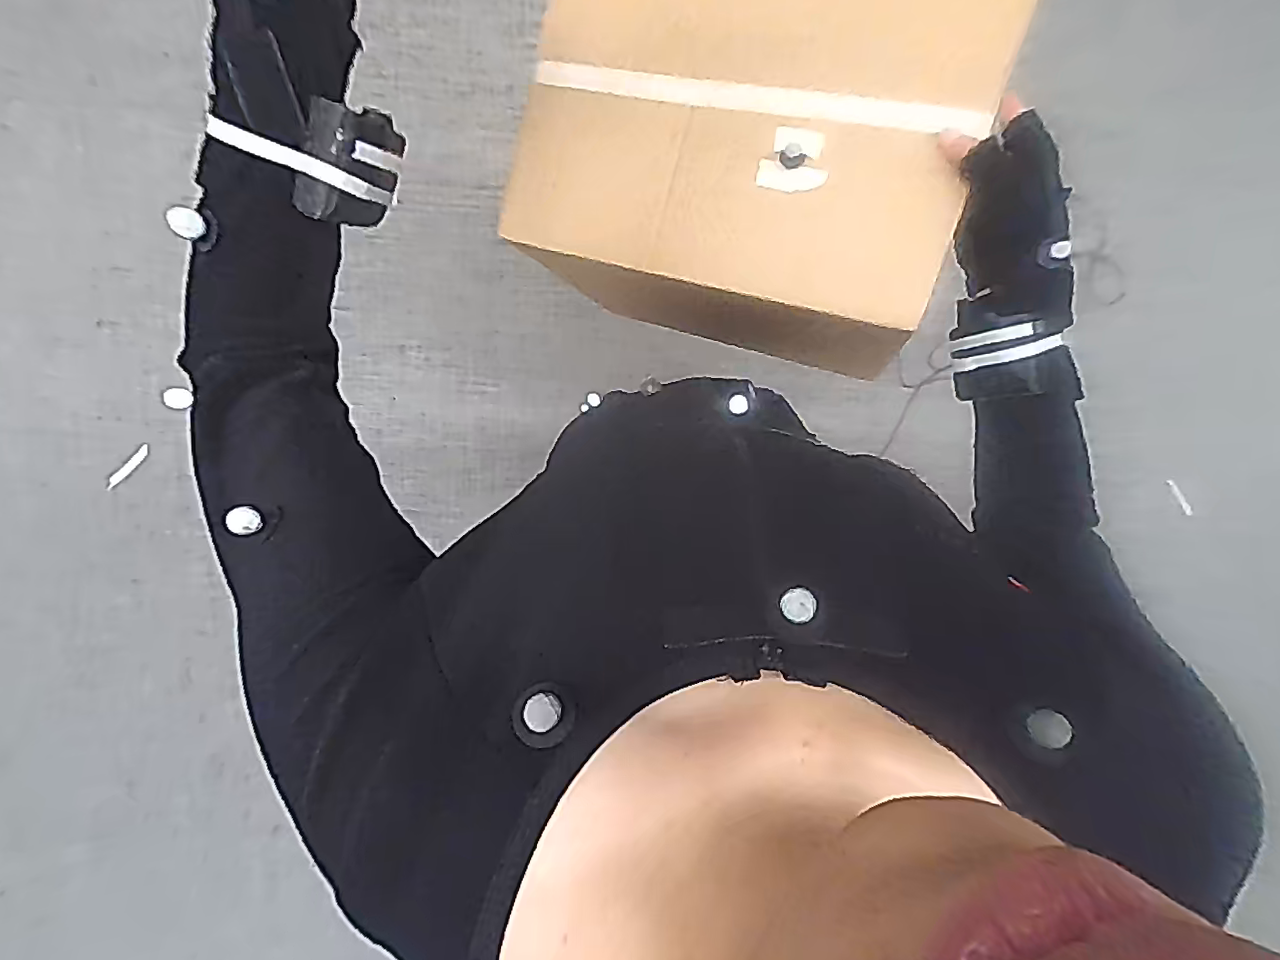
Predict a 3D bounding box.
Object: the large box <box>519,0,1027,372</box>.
[{"bbox_3d":[0.138,-0.344,0.632,0.408,0.320,0.320,20,98,17],"label":"large box"}]
